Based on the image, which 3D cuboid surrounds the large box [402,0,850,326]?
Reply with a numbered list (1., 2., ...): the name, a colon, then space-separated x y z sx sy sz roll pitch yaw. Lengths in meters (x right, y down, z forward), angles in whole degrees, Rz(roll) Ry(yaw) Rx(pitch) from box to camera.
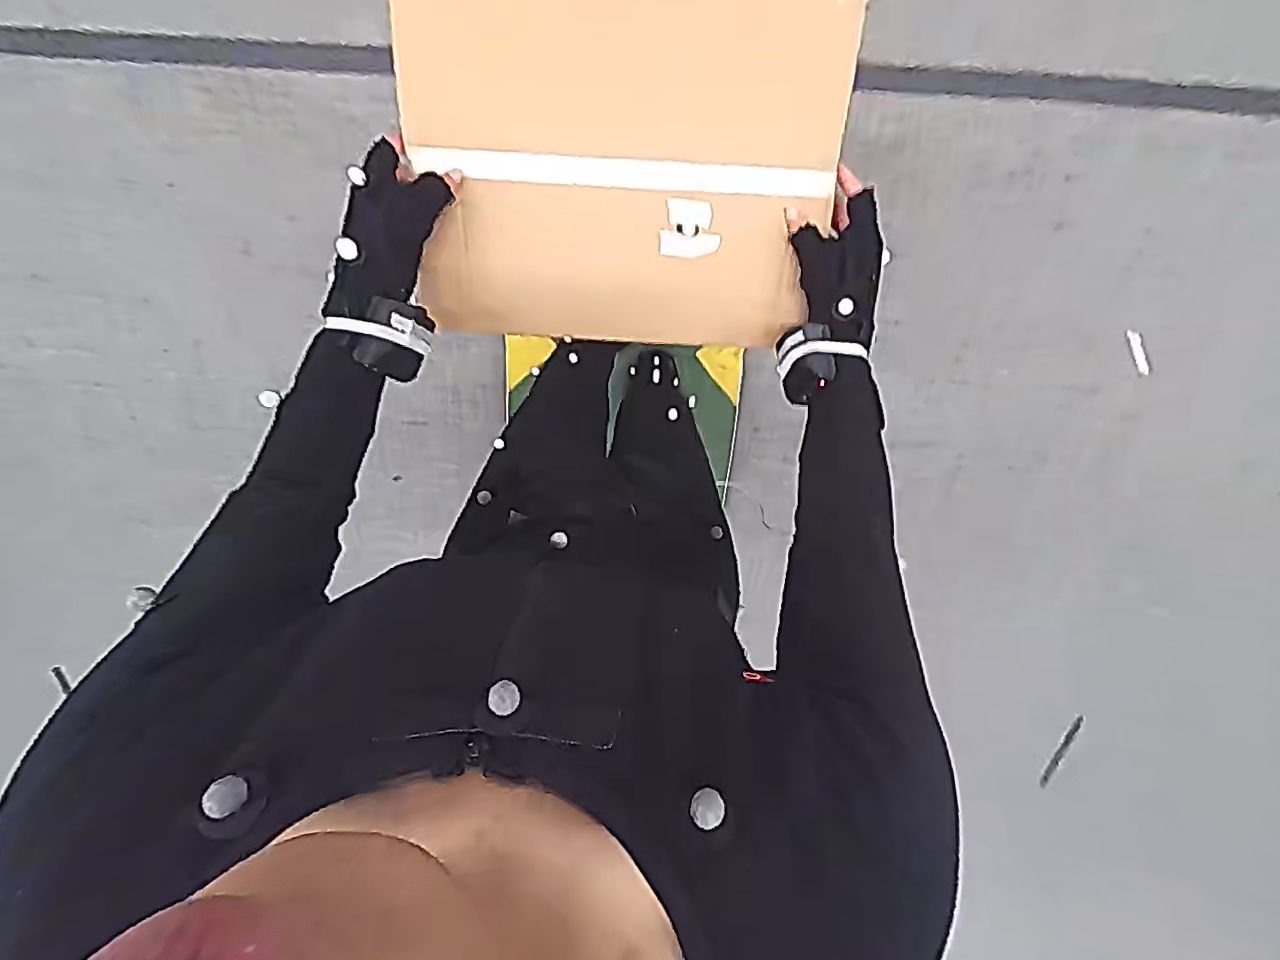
1. large box: -0.020 -0.374 0.663 0.408 0.320 0.320 2 115 -2
